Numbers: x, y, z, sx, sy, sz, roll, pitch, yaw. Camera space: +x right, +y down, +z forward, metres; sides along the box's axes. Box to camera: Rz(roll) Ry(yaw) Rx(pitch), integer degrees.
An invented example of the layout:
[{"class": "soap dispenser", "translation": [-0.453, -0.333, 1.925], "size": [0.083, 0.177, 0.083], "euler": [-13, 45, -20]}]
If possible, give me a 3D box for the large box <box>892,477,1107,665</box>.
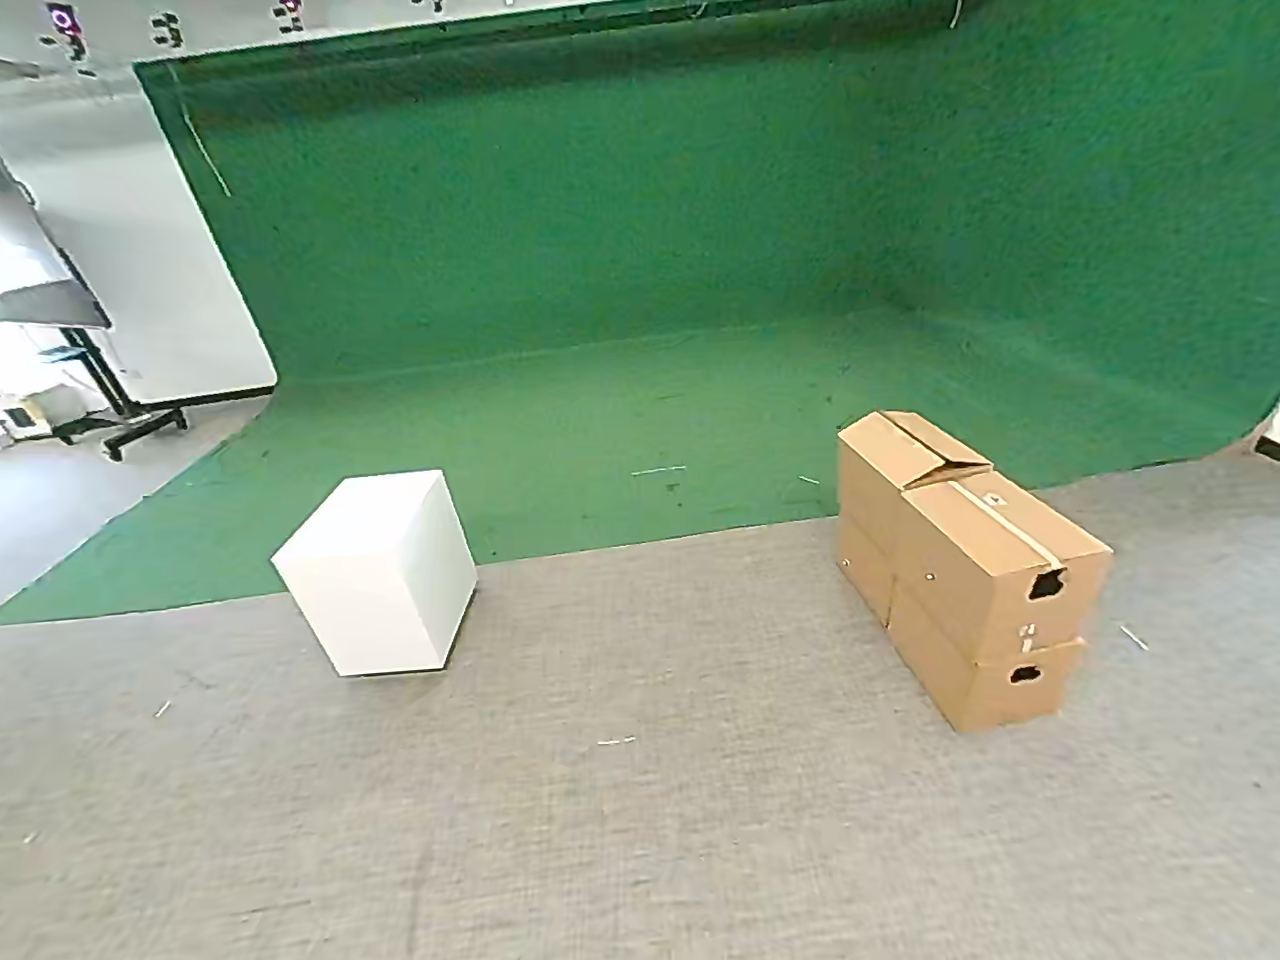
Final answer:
[{"class": "large box", "translation": [0.975, 0.243, 1.535], "size": [0.320, 0.320, 0.408], "euler": [-12, 29, -4]}]
